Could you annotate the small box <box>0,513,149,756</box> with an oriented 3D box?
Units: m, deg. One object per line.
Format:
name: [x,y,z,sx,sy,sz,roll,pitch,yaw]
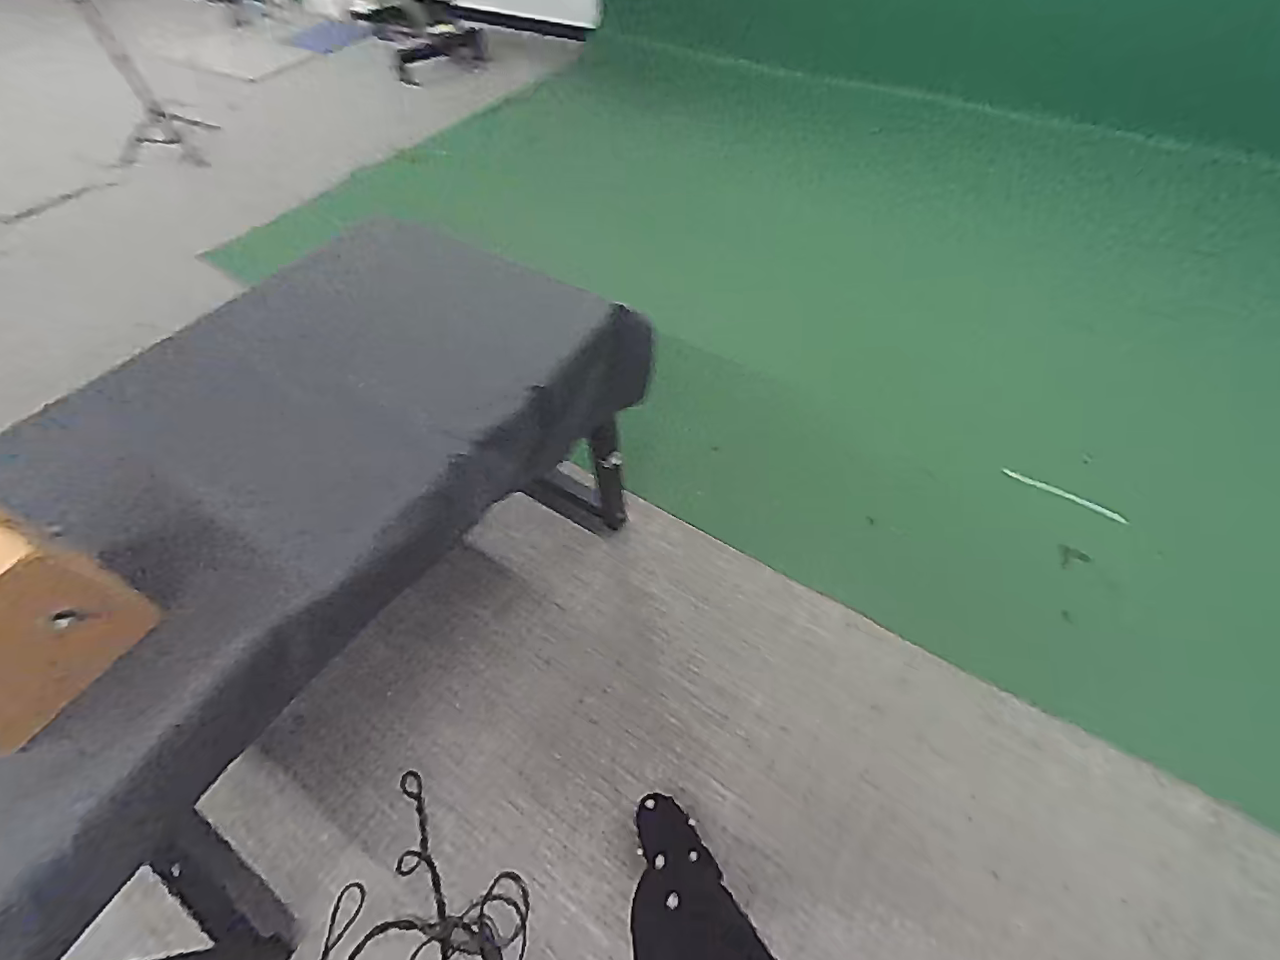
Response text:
small box: [-0.674,0.150,0.558,0.168,0.176,0.179,22,59,19]
